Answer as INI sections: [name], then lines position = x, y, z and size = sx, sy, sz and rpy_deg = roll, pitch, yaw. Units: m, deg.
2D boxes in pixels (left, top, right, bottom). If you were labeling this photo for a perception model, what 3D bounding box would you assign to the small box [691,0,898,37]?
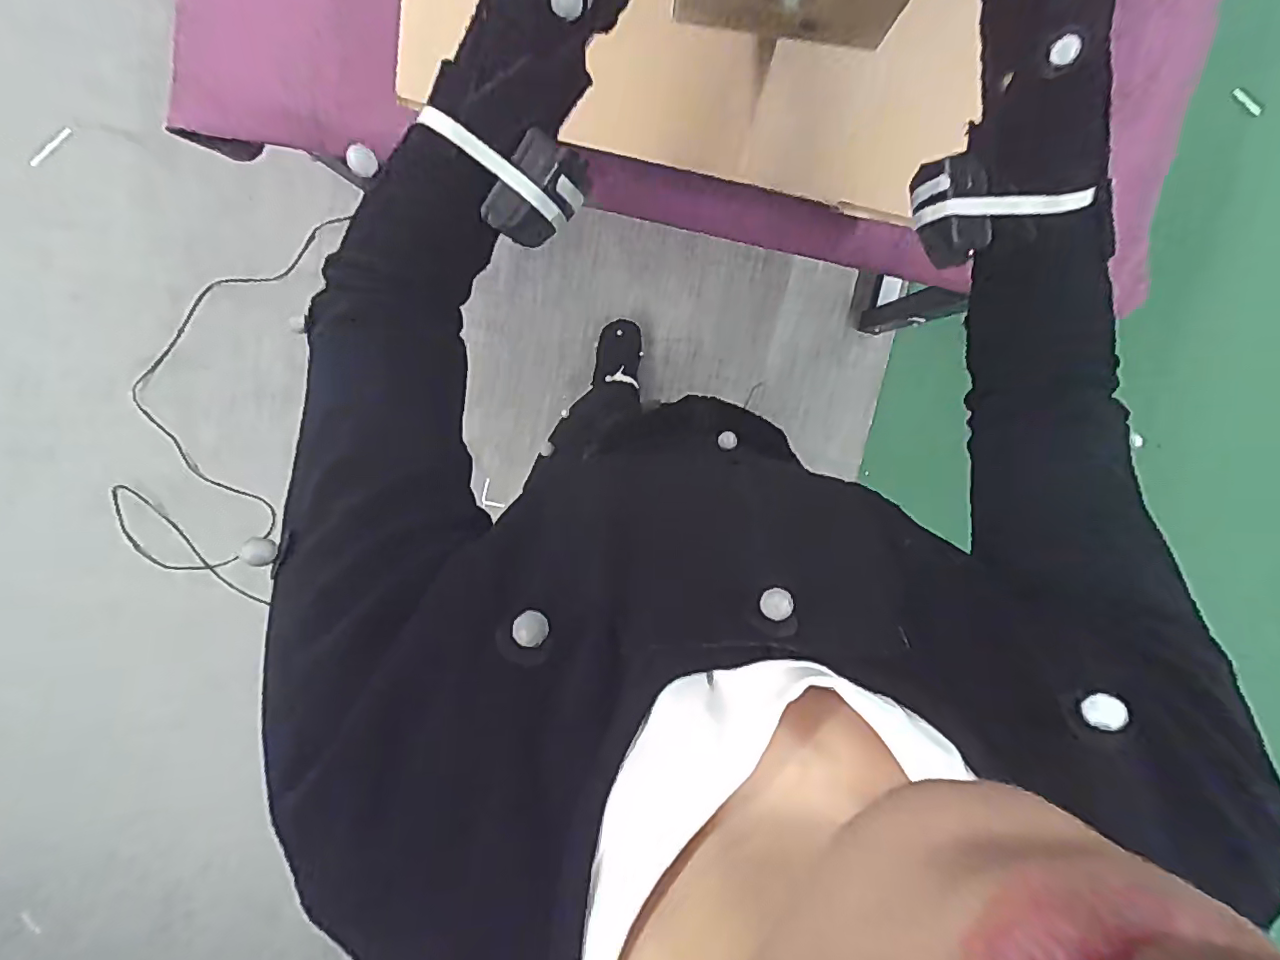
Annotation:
[small box]
position = 0.119, -0.430, 0.330
size = 0.168, 0.176, 0.179
rpy_deg = 7, 99, -2
